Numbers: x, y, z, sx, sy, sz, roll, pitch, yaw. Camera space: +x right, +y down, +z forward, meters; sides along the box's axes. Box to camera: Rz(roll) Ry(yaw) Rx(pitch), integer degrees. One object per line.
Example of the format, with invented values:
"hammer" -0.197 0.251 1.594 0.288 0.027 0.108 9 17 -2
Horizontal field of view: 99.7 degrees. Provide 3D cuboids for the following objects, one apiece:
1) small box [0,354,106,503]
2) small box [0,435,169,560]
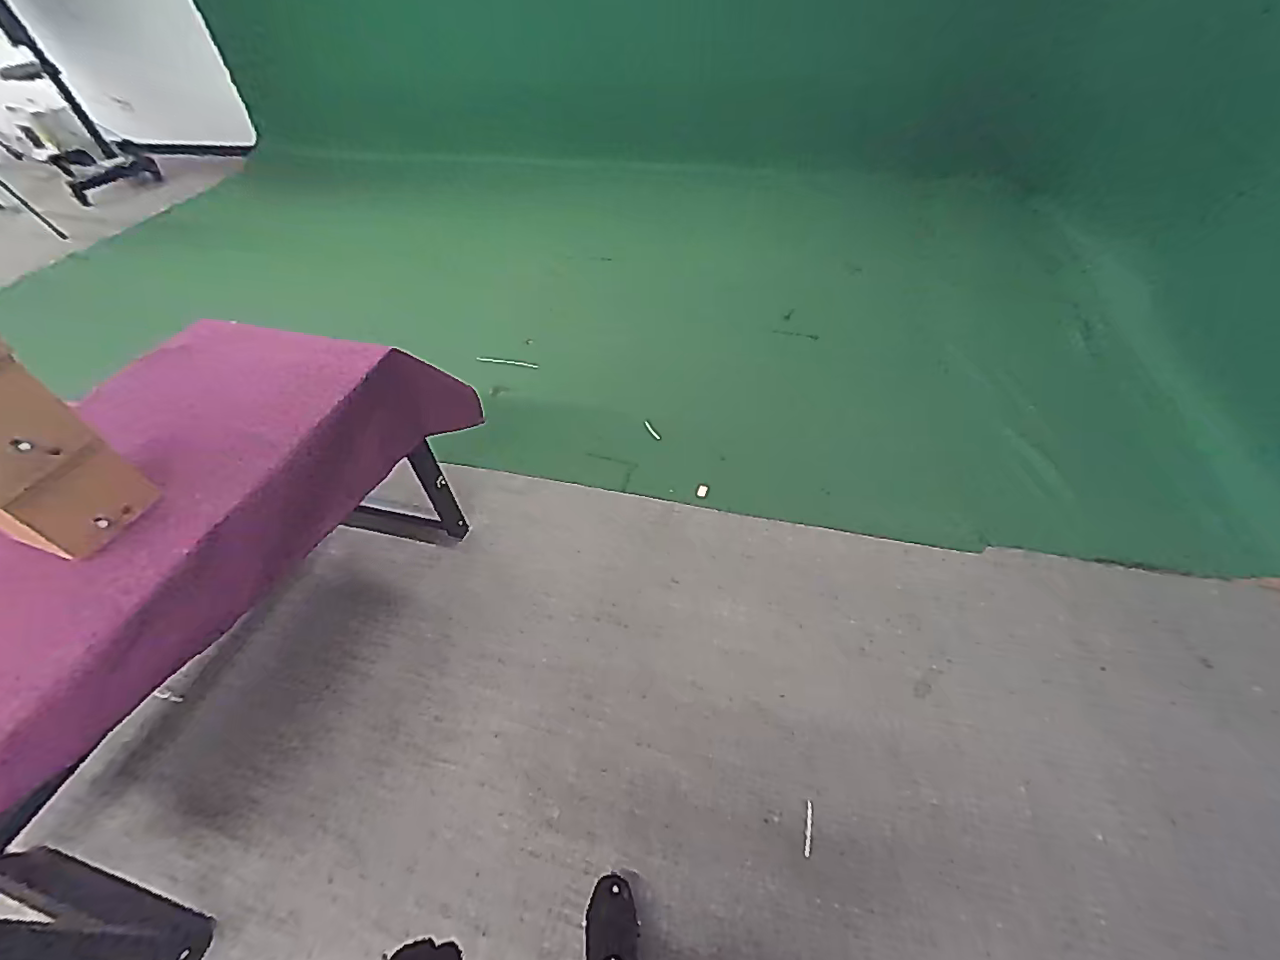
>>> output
"small box" -1.001 -0.087 0.821 0.179 0.176 0.168 12 51 14
"small box" -1.006 0.017 0.948 0.179 0.176 0.168 14 51 15
